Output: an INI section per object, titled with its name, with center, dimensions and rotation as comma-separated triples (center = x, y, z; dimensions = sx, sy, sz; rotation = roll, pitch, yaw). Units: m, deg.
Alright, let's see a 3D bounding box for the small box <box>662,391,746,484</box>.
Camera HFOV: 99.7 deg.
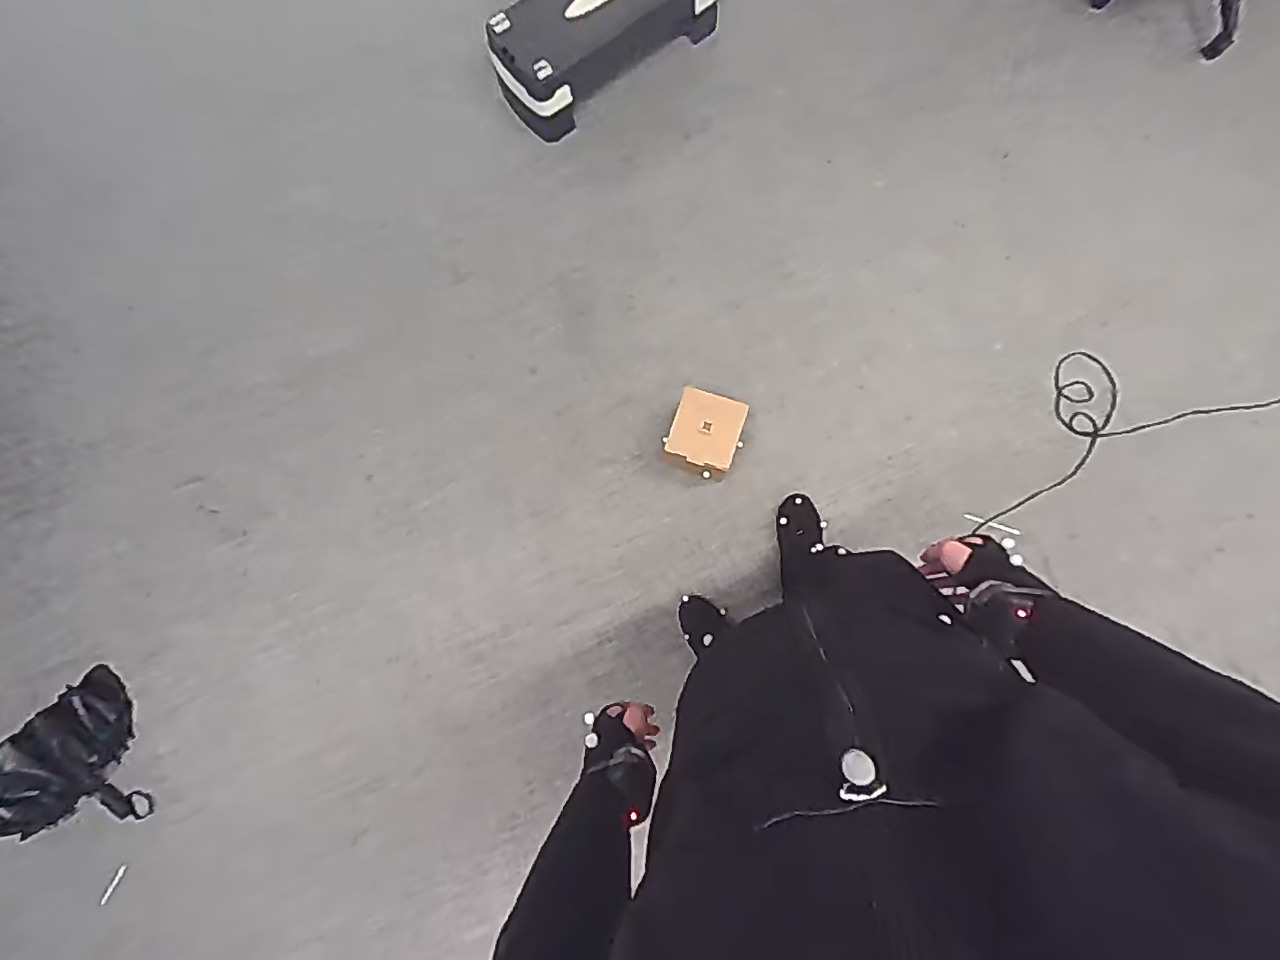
[small box]
center = 0.162, -0.103, 1.403
dimensions = 0.168, 0.176, 0.179
rotation = 18, 80, 5
